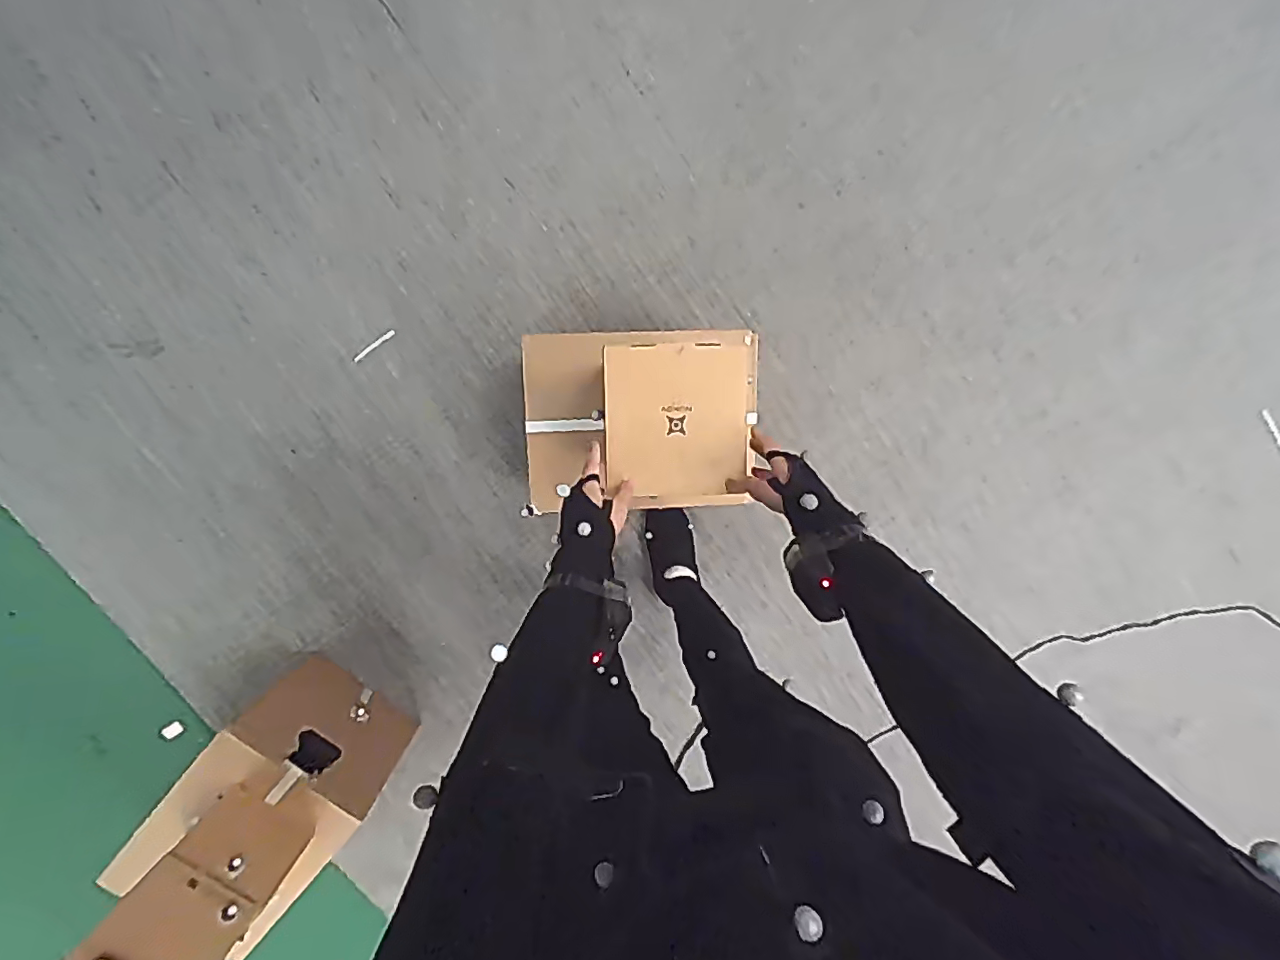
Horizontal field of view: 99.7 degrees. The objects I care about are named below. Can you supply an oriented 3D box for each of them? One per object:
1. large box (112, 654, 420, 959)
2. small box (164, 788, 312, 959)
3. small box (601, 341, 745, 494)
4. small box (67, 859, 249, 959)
[{"bbox_3d":[-0.762,0.670,1.166,0.320,0.320,0.408,40,95,-6],"label":"large box"},{"bbox_3d":[-0.713,0.677,0.924,0.179,0.176,0.168,41,93,-7],"label":"small box"},{"bbox_3d":[0.036,-0.080,0.698,0.168,0.176,0.179,-1,96,-2],"label":"small box"},{"bbox_3d":[-0.705,0.693,0.761,0.168,0.176,0.179,39,94,-7],"label":"small box"}]
